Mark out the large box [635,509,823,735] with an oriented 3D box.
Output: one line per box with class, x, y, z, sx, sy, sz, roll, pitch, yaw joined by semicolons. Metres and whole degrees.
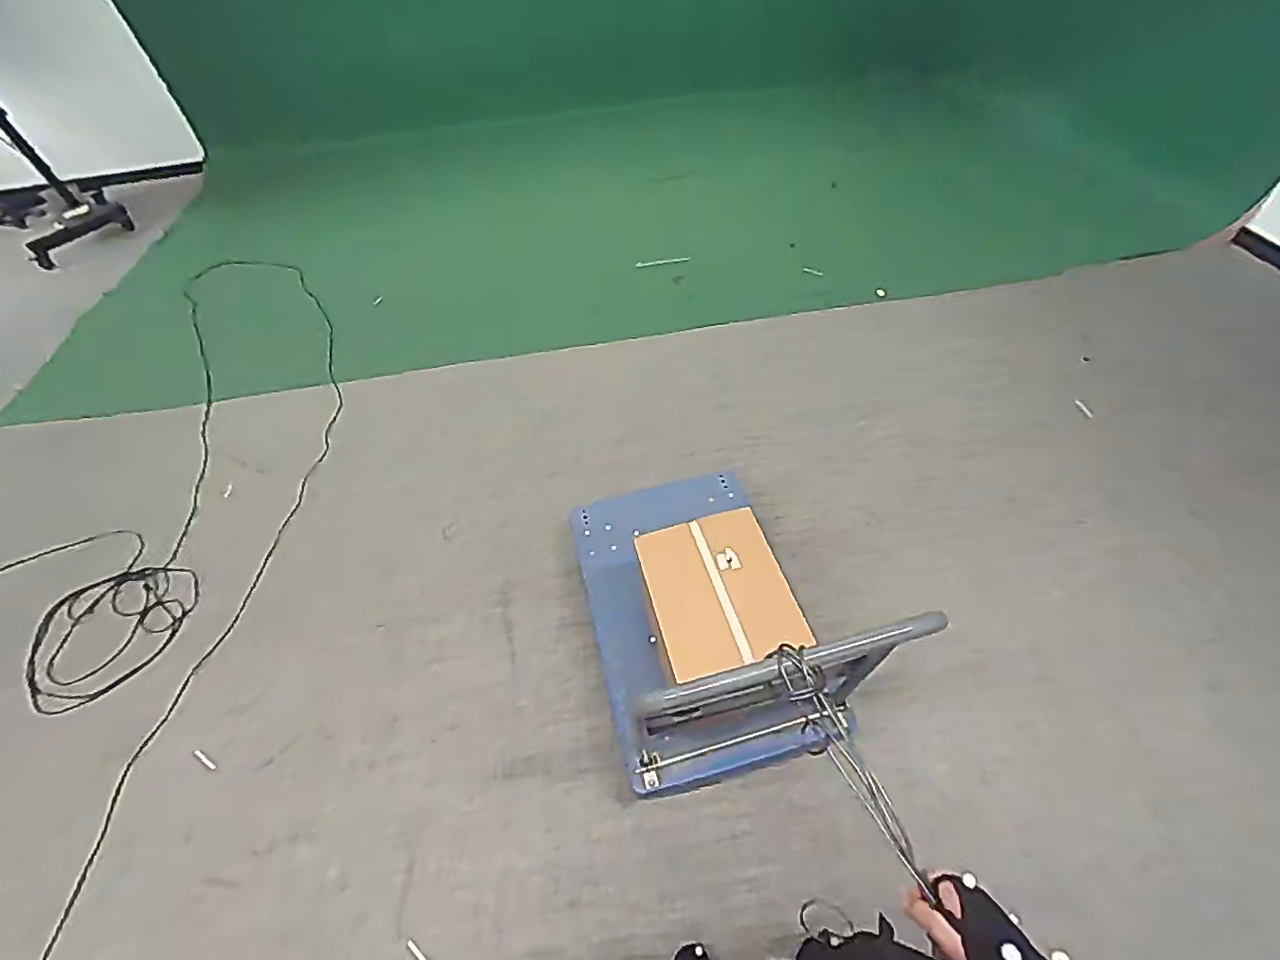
large box;0.199;0.350;1.344;0.320;0.320;0.408;-14;50;-7
